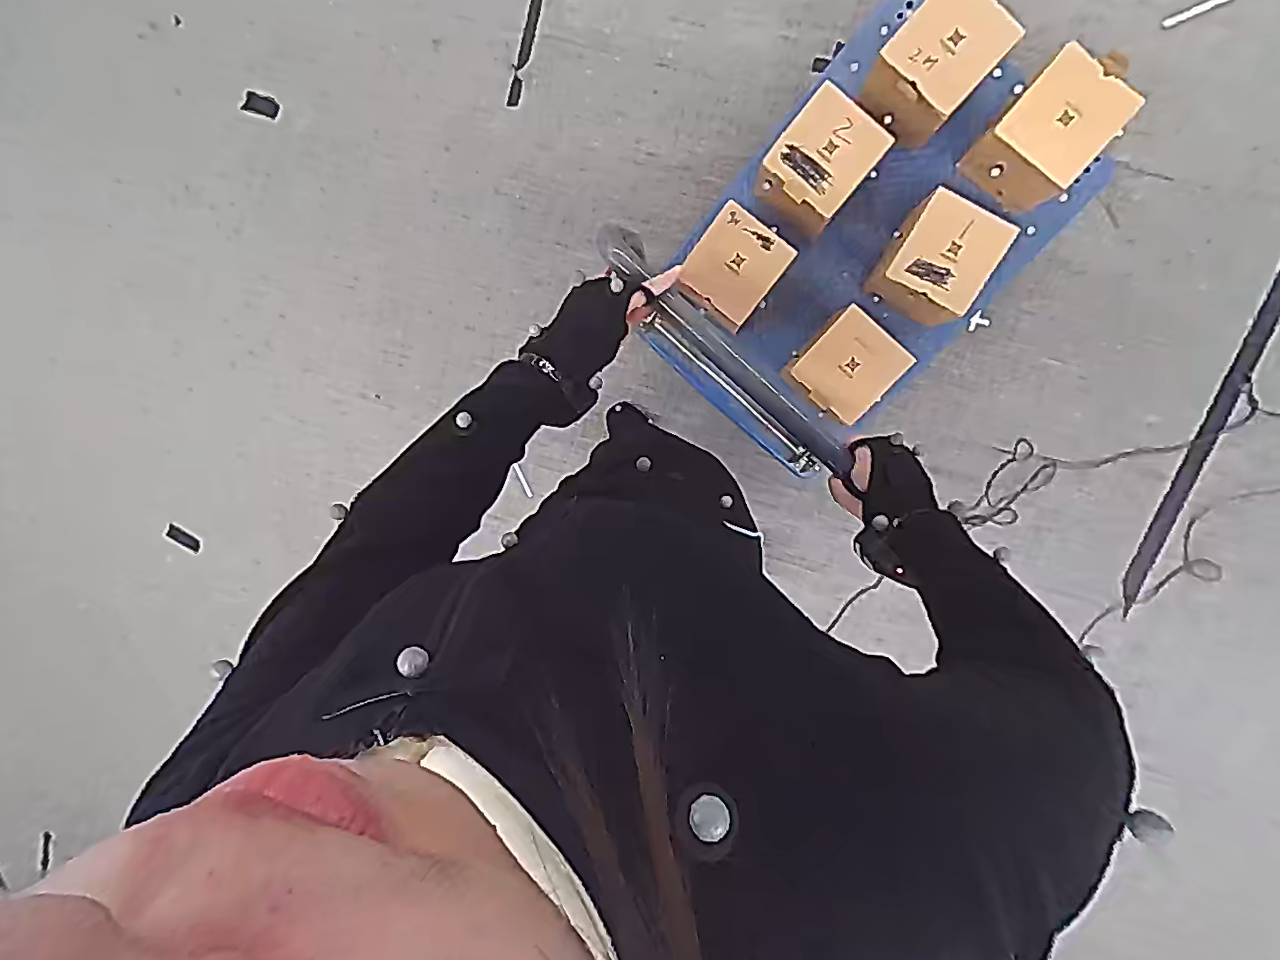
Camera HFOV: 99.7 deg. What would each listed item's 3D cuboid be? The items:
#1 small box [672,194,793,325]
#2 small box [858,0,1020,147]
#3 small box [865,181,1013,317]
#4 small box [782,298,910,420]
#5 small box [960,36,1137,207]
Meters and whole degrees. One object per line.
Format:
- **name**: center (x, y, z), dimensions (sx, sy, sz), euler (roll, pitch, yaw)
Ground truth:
- **small box**: center (0.188, -0.441, 1.117), dimensions (0.168, 0.176, 0.179), euler (38, 103, -2)
- **small box**: center (0.541, -0.777, 1.008), dimensions (0.168, 0.176, 0.179), euler (44, 104, -2)
- **small box**: center (0.572, -0.441, 1.069), dimensions (0.168, 0.176, 0.179), euler (30, 102, 1)
- **small box**: center (0.414, -0.246, 1.127), dimensions (0.168, 0.176, 0.179), euler (42, 102, -2)
- **small box**: center (0.739, -0.650, 1.009), dimensions (0.168, 0.176, 0.179), euler (39, 103, -1)
